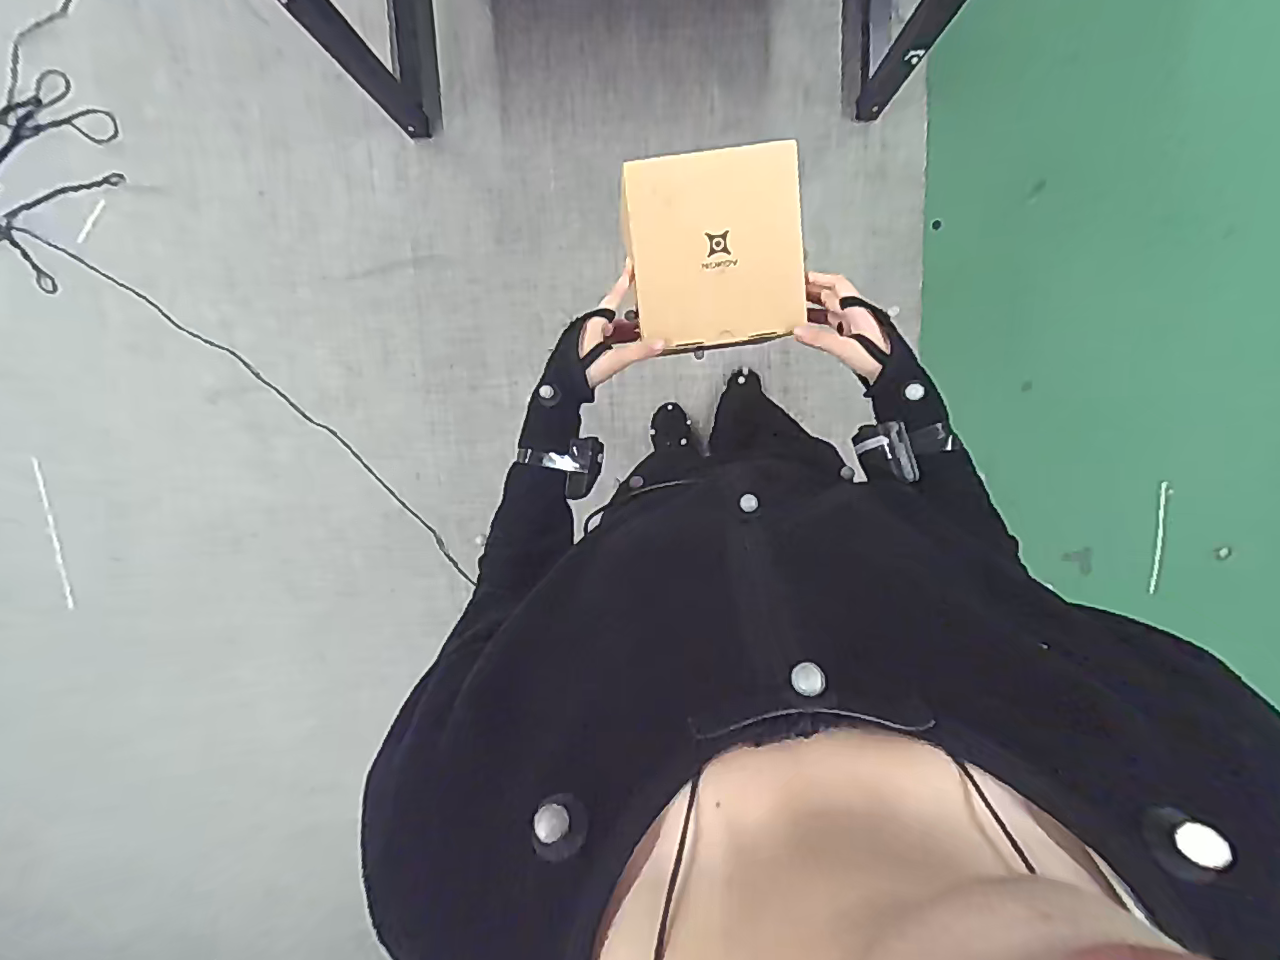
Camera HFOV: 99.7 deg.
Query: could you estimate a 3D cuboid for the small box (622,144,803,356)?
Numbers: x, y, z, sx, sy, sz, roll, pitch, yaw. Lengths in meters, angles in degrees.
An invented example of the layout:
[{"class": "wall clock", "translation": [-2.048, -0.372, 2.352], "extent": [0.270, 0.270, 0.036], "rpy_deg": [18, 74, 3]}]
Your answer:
[{"class": "small box", "translation": [0.070, -0.236, 0.598], "extent": [0.168, 0.176, 0.179], "rpy_deg": [-7, 102, 1]}]
